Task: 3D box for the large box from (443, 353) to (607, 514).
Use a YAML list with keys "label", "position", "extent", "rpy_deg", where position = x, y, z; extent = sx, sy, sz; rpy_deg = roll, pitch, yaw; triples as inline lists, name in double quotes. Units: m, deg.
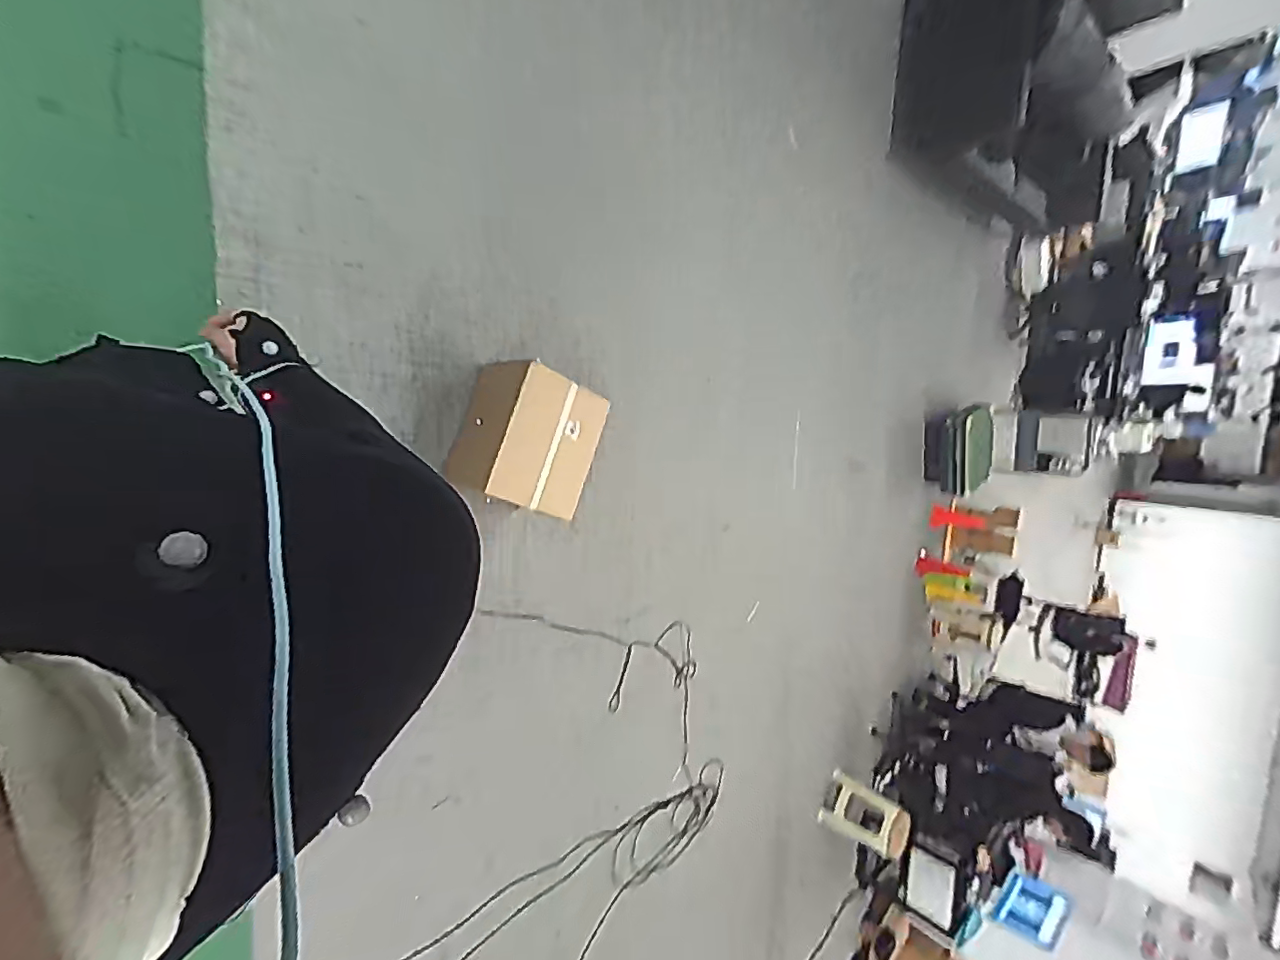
- label: "large box"
  position: [-0.363, -0.138, 1.694]
  extent: [0.320, 0.320, 0.408]
  rpy_deg: [24, 79, -42]
